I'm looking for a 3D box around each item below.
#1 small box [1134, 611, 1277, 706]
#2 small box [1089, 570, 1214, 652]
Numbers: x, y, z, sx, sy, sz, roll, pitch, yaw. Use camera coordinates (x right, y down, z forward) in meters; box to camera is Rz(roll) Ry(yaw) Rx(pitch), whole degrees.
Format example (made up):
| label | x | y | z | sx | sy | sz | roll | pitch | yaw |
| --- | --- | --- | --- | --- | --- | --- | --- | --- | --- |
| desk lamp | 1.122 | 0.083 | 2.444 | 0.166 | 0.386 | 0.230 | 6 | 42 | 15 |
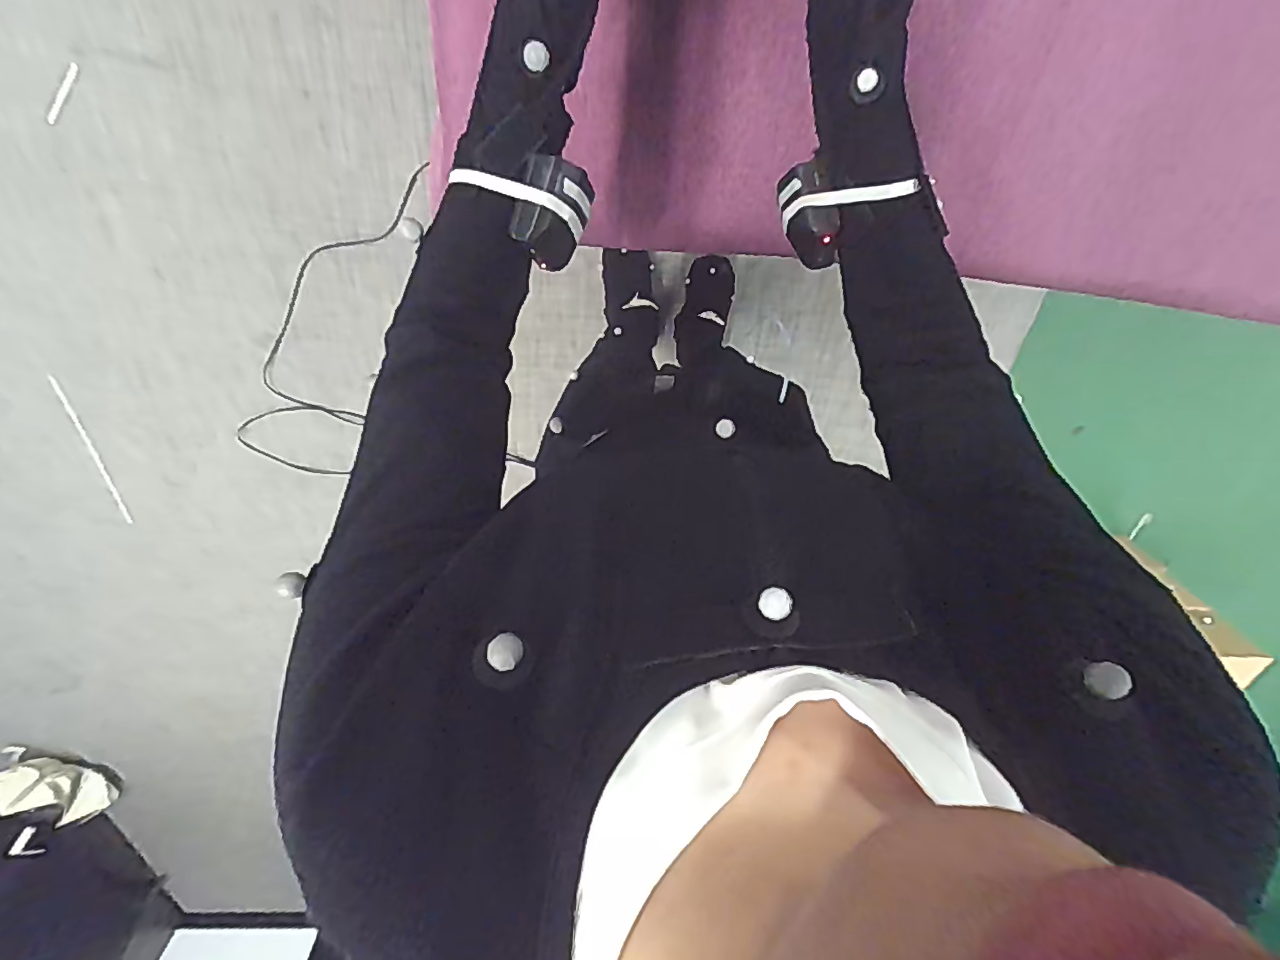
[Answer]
| label | x | y | z | sx | sy | sz | roll | pitch | yaw |
| --- | --- | --- | --- | --- | --- | --- | --- | --- | --- |
| small box | 1.488 | 0.474 | 1.442 | 0.168 | 0.176 | 0.179 | 3 | 122 | -3 |
| small box | 1.477 | 0.381 | 1.578 | 0.168 | 0.176 | 0.179 | 4 | 122 | -3 |
